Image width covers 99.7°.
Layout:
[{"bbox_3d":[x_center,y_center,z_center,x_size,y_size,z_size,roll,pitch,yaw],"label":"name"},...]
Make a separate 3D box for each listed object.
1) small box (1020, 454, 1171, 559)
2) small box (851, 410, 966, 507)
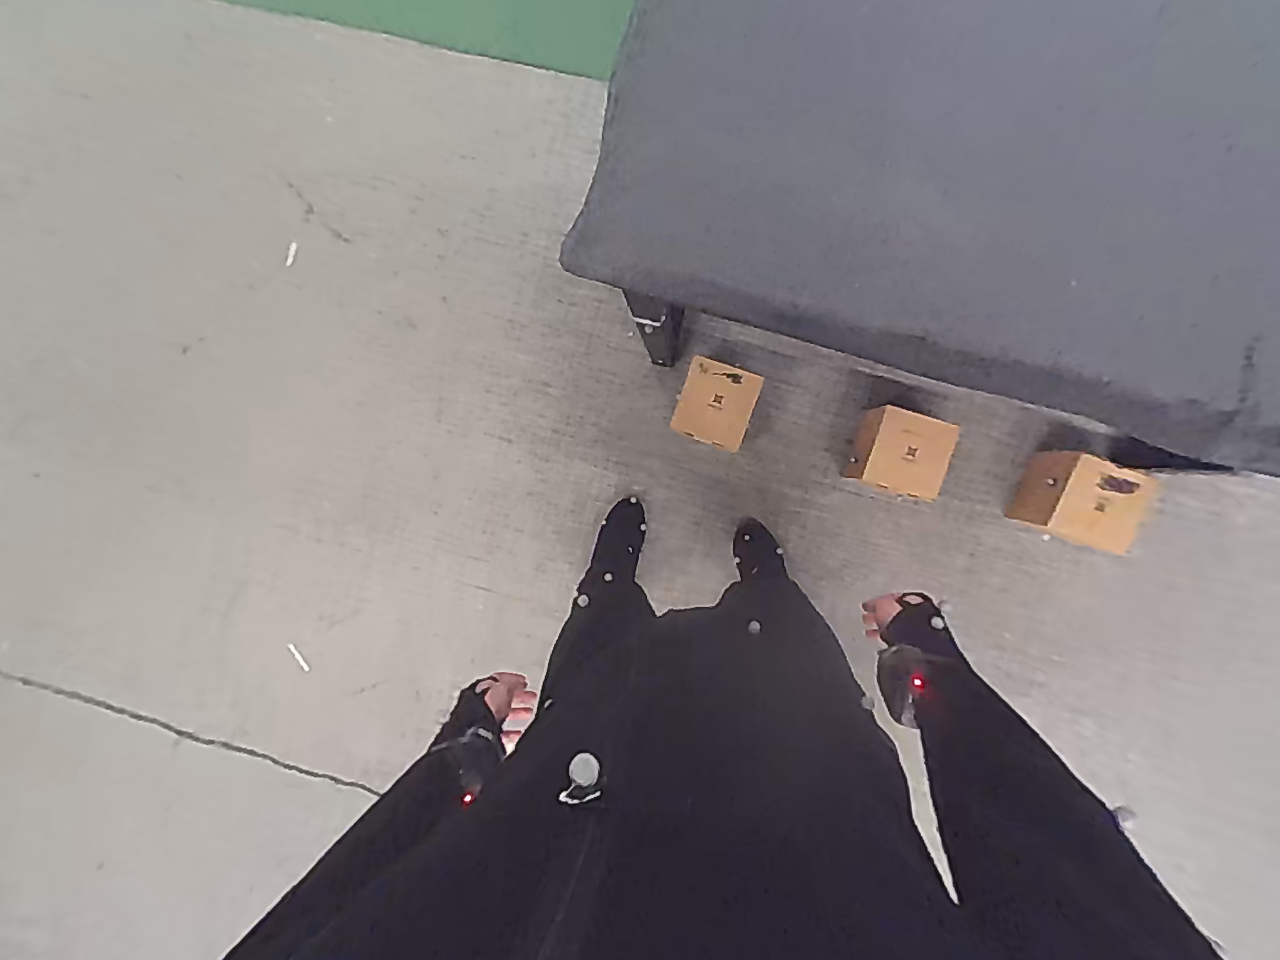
[{"bbox_3d":[0.991,0.052,1.195,0.168,0.176,0.179,20,94,6],"label":"small box"},{"bbox_3d":[0.603,-0.046,1.242,0.168,0.176,0.179,16,91,5],"label":"small box"}]
